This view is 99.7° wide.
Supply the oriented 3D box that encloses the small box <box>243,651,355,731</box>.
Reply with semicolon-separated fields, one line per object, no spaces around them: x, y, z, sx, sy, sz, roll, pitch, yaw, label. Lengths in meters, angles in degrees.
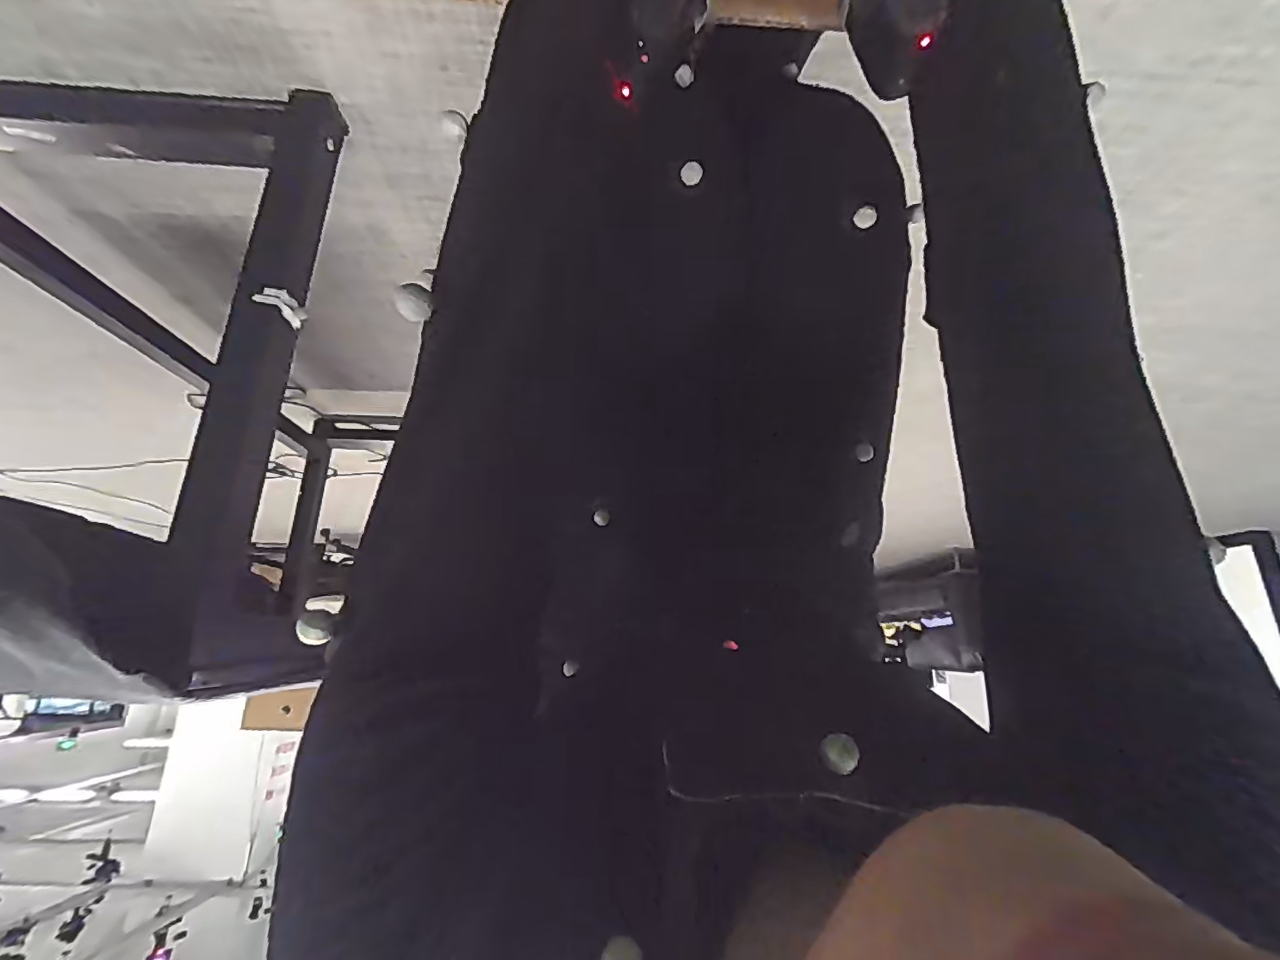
-0.837;0.521;1.350;0.179;0.176;0.168;2;162;-1;small box
